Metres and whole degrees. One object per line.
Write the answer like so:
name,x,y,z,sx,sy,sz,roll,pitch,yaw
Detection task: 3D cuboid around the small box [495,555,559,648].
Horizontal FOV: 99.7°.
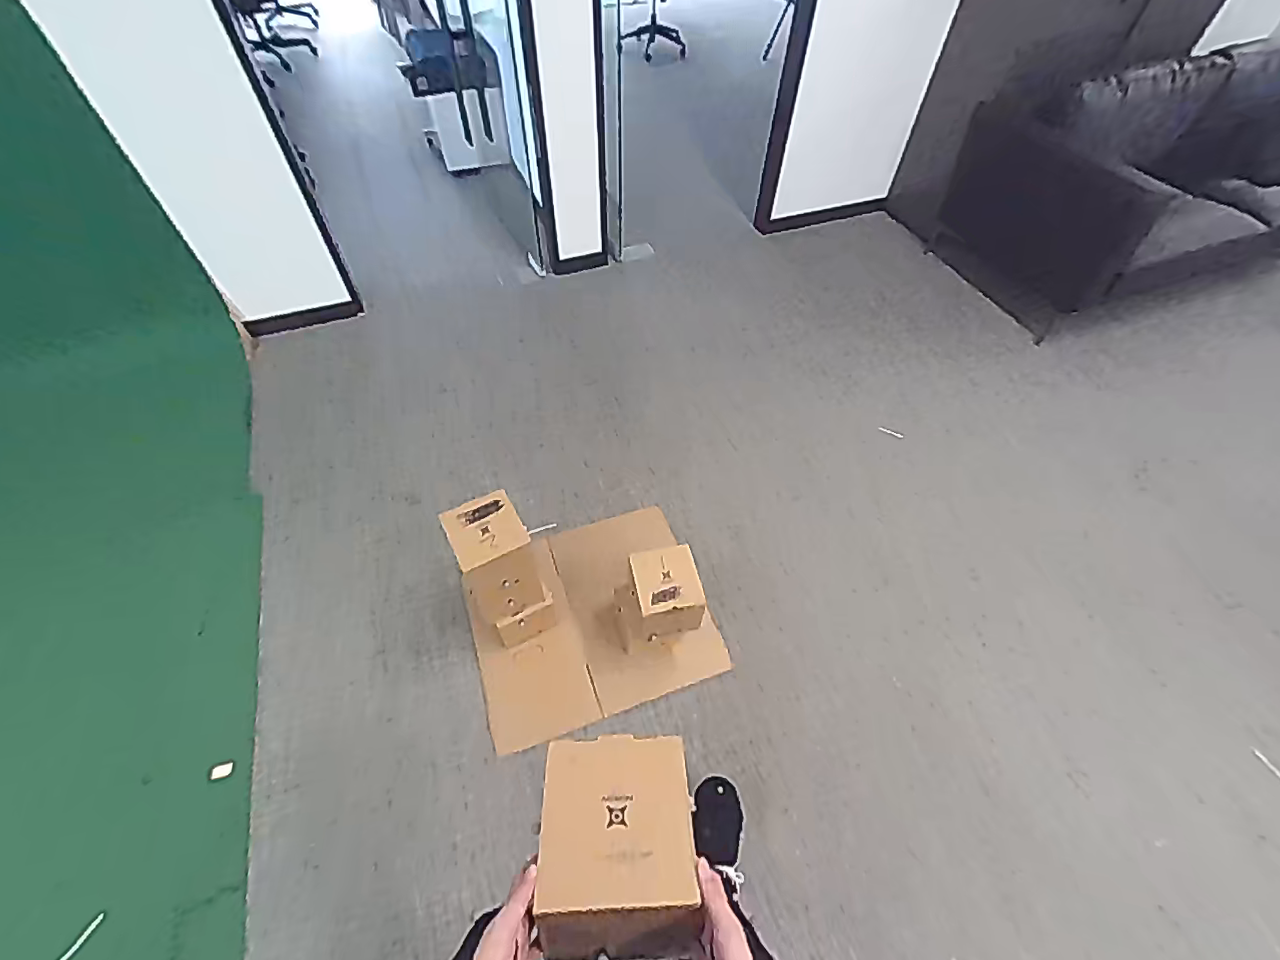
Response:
small box,-0.348,0.358,1.577,0.168,0.176,0.179,-23,56,-17

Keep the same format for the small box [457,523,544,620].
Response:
small box,-0.369,0.253,1.450,0.168,0.176,0.179,-21,56,-18

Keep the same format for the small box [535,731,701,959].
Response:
small box,-0.026,0.425,0.637,0.168,0.176,0.179,-1,34,-3

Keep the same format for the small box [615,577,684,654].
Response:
small box,0.028,0.385,1.563,0.168,0.176,0.179,-12,53,-10

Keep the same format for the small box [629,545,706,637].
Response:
small box,0.068,0.298,1.422,0.168,0.176,0.179,-9,52,-8
